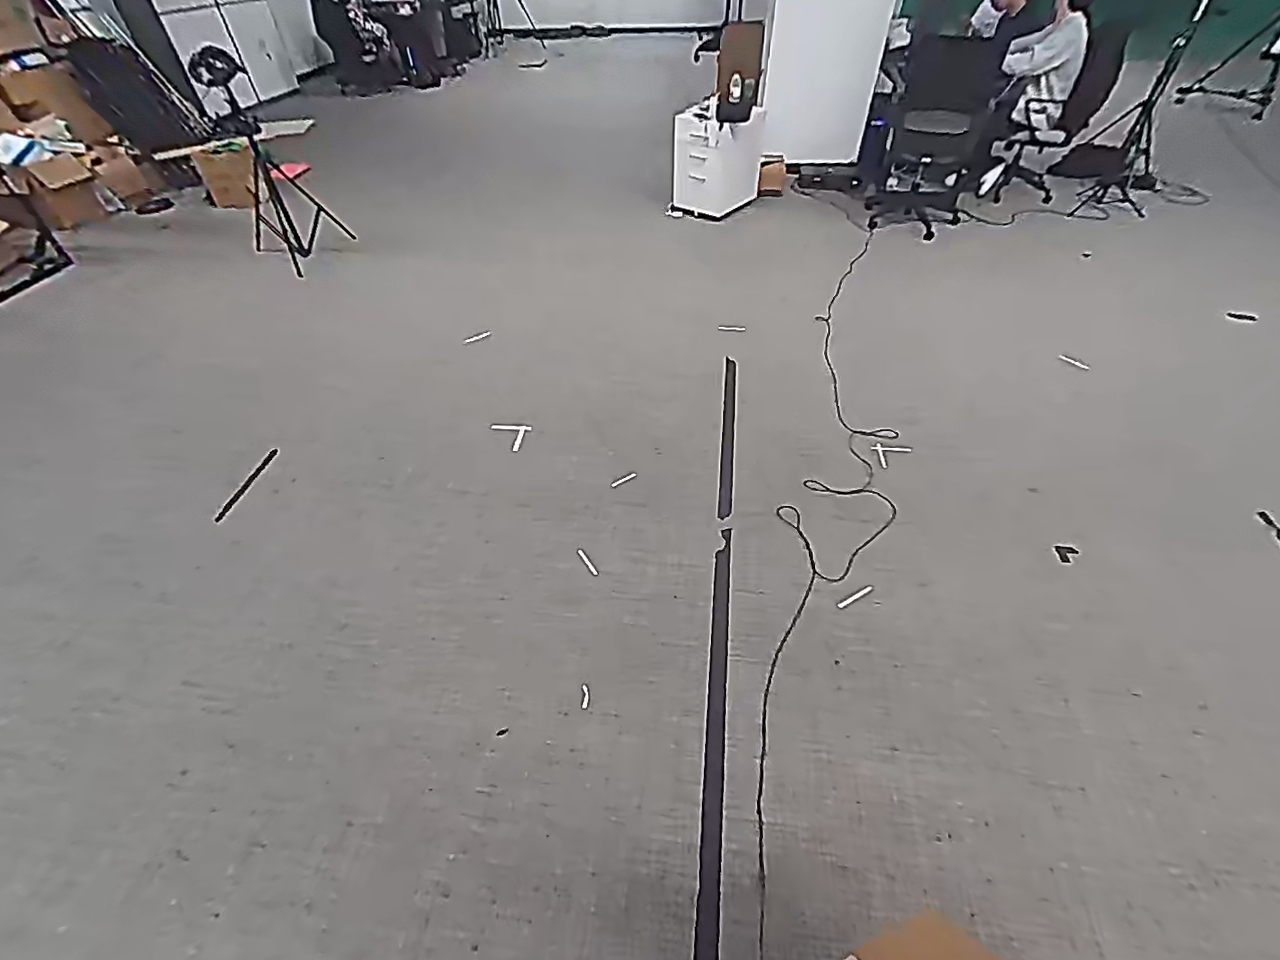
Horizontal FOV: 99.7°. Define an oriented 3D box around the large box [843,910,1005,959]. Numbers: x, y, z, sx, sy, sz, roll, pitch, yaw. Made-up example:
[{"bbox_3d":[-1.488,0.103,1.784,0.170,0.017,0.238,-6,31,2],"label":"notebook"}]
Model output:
[{"bbox_3d":[0.400,0.798,0.591,0.320,0.408,0.320,-19,78,-14],"label":"large box"}]
